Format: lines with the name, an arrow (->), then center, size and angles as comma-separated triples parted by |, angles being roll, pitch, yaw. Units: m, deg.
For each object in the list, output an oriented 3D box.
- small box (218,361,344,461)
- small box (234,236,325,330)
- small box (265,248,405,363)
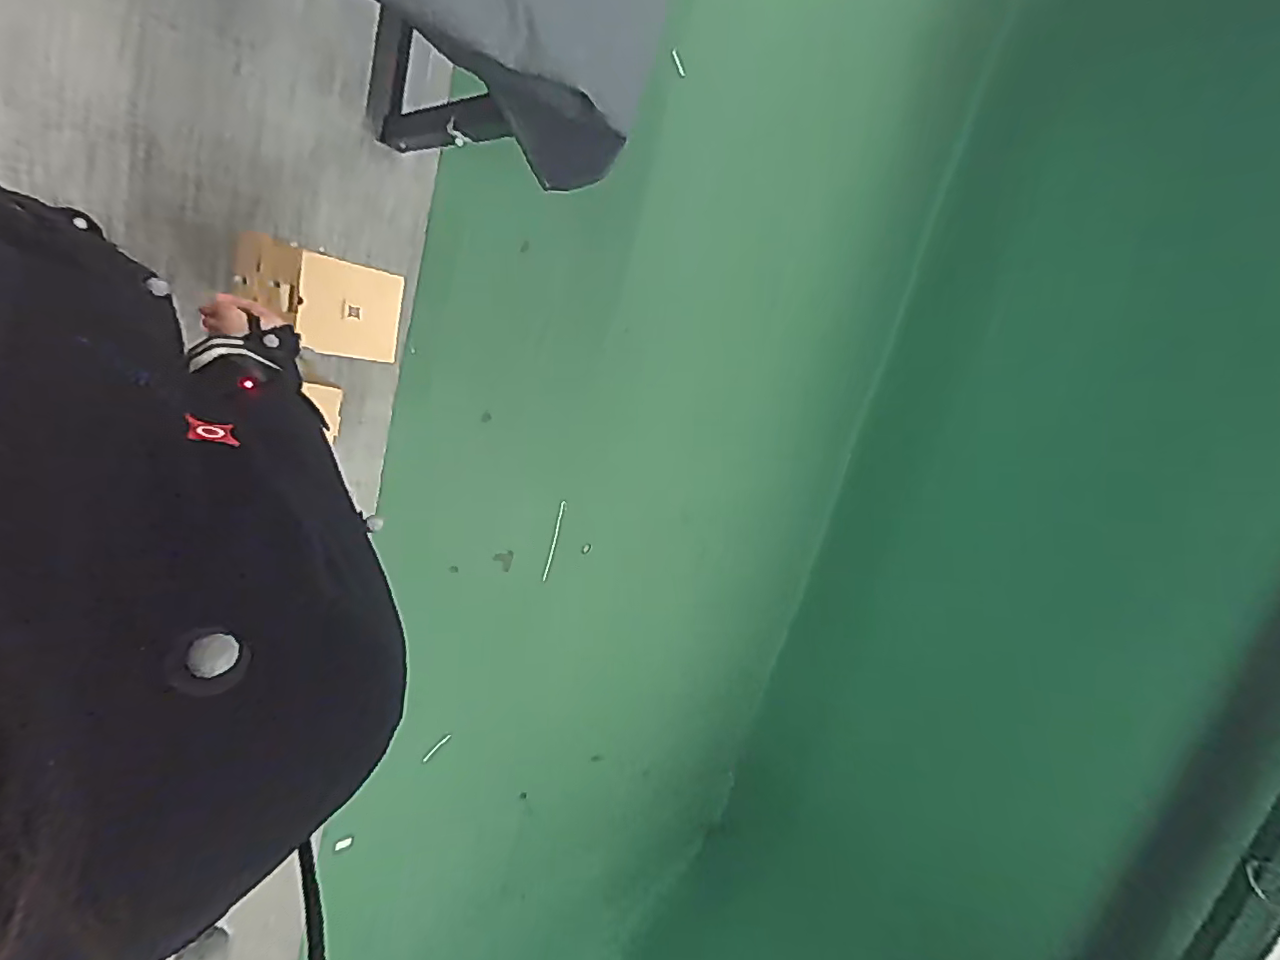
small box -> -0.765, -0.147, 1.150 | 0.179, 0.176, 0.168 | 5, 104, -48
small box -> -0.702, -0.382, 1.101 | 0.179, 0.176, 0.168 | 0, 107, -49
small box -> -0.573, -0.327, 1.013 | 0.179, 0.176, 0.168 | -2, 110, -48
